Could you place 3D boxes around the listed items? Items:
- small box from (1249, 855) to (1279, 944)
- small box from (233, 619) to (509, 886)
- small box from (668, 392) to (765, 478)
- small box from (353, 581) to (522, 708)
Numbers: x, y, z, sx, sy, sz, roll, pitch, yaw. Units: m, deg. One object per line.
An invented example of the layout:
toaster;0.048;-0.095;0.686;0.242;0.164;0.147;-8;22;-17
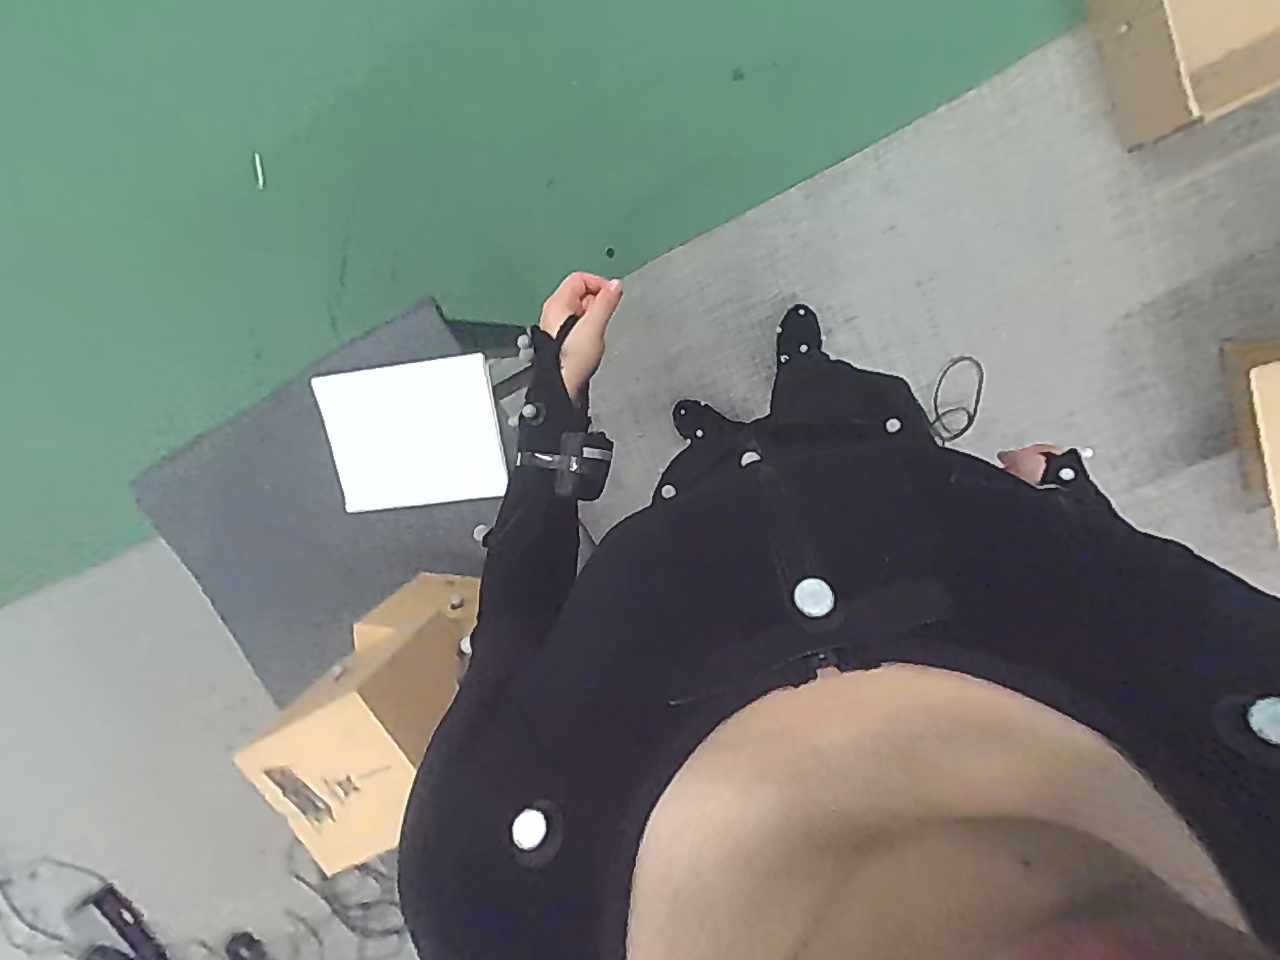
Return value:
small box;1.481;0.945;1.160;0.168;0.176;0.179;-3;101;8
small box;-0.278;0.288;0.599;0.179;0.176;0.168;-30;99;13
small box;0.190;-0.108;1.355;0.176;0.168;0.179;-3;77;-21
small box;-0.271;0.257;0.761;0.168;0.176;0.179;4;105;6
